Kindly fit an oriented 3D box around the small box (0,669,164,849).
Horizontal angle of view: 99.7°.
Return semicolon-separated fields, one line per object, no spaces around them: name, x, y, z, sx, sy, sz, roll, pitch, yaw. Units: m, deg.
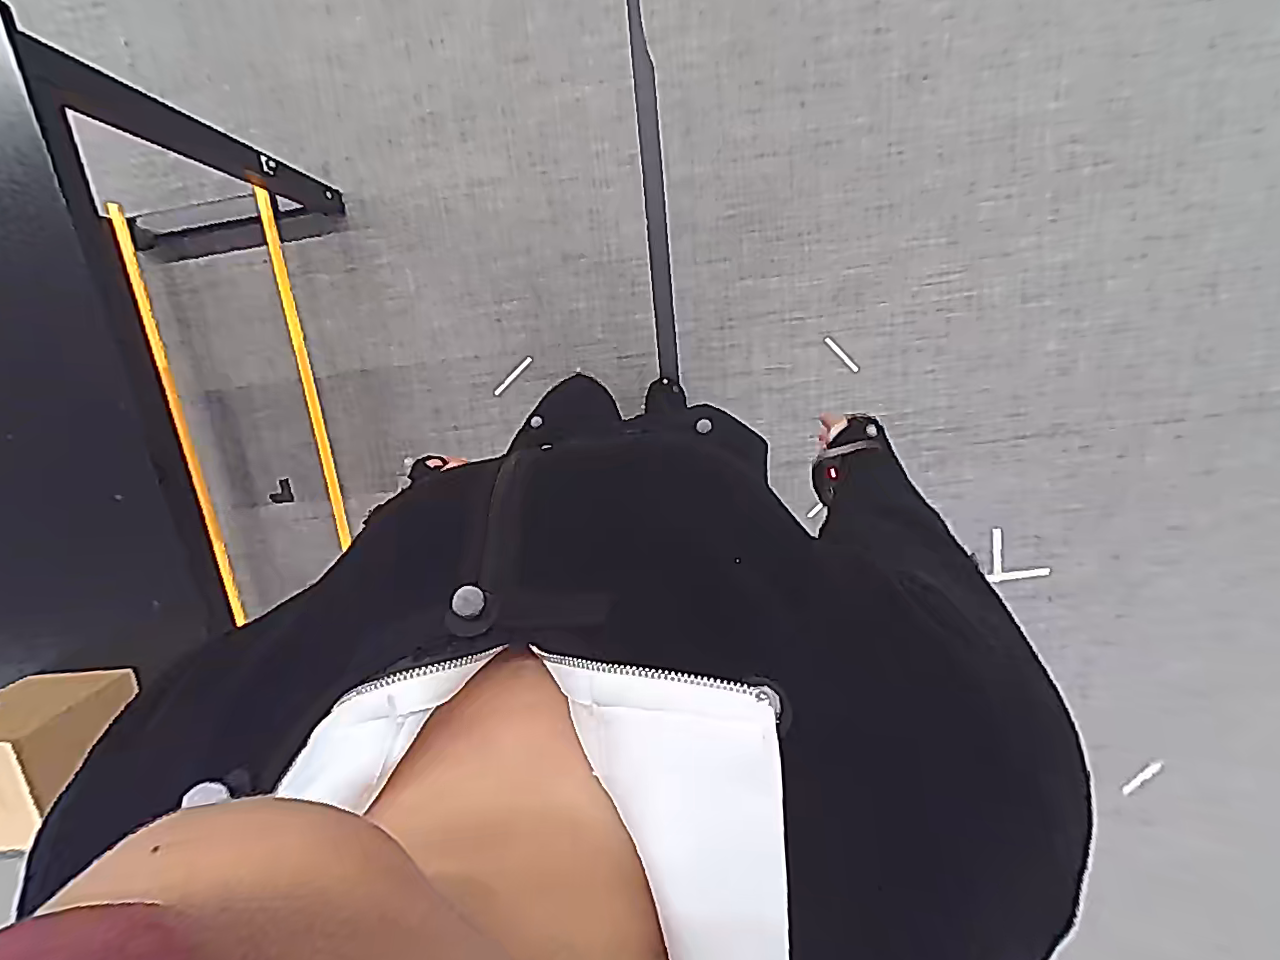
small box;-0.860;0.394;0.782;0.179;0.176;0.168;-5;103;3
